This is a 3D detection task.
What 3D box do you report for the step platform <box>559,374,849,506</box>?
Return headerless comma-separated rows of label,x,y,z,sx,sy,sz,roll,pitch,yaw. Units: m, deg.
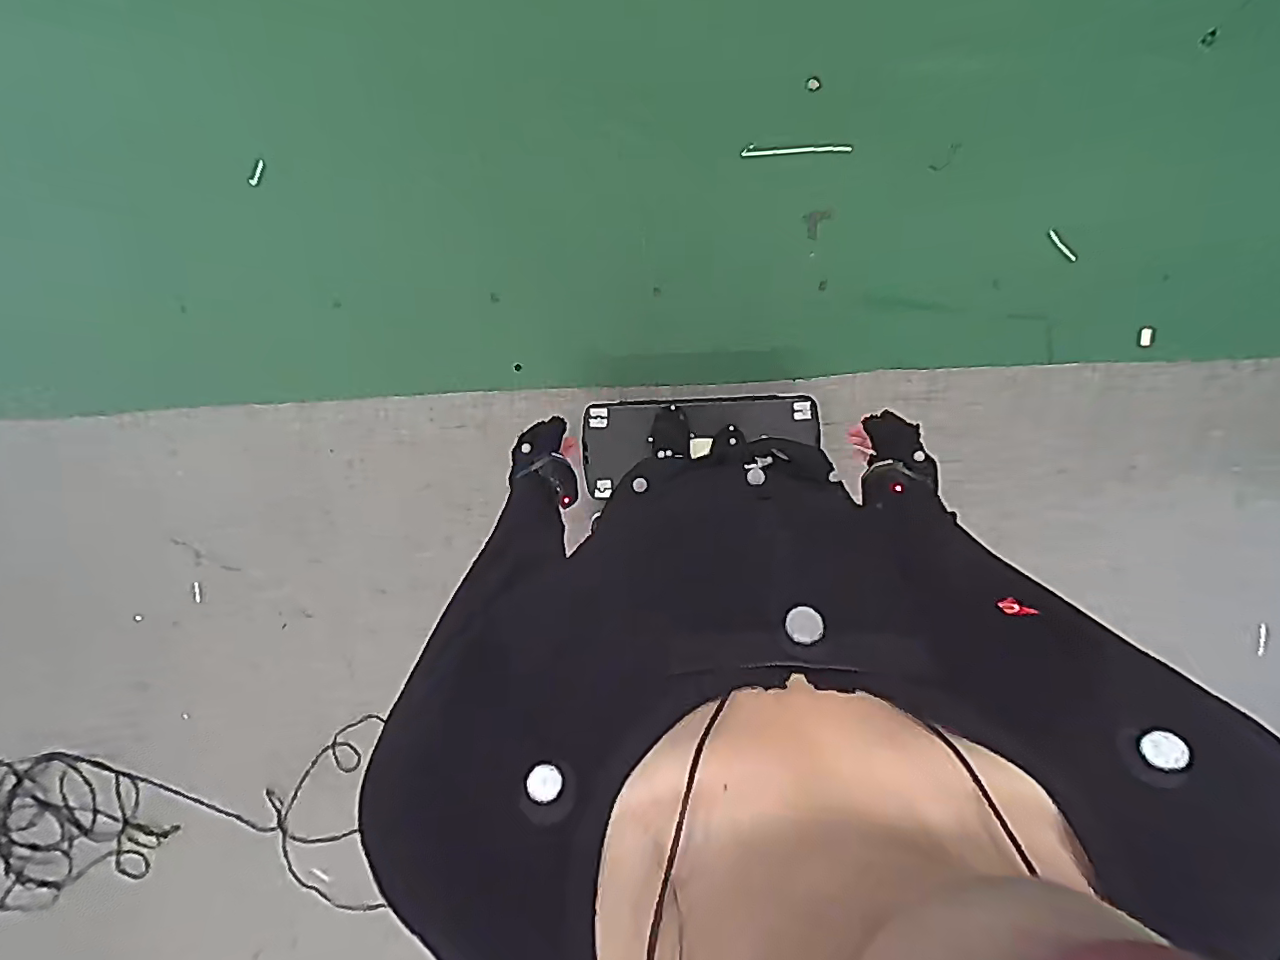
step platform,0.152,-0.104,1.370,0.684,0.204,0.286,-3,98,3
